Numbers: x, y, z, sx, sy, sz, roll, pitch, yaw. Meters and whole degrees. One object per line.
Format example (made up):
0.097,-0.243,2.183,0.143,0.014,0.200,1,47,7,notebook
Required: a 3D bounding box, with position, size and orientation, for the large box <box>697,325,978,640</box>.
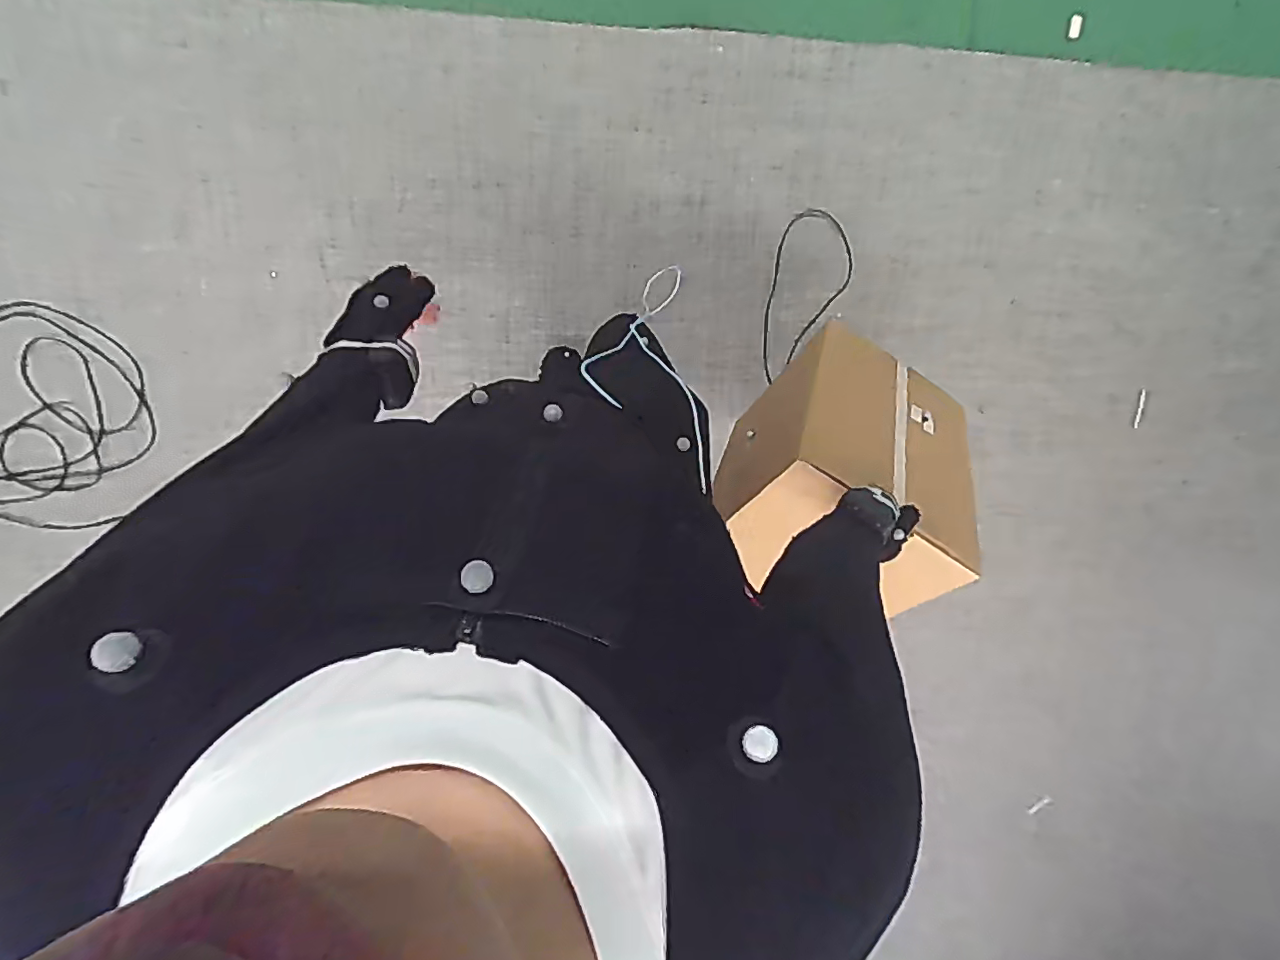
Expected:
0.346,0.007,0.978,0.320,0.408,0.320,33,138,-6,large box
